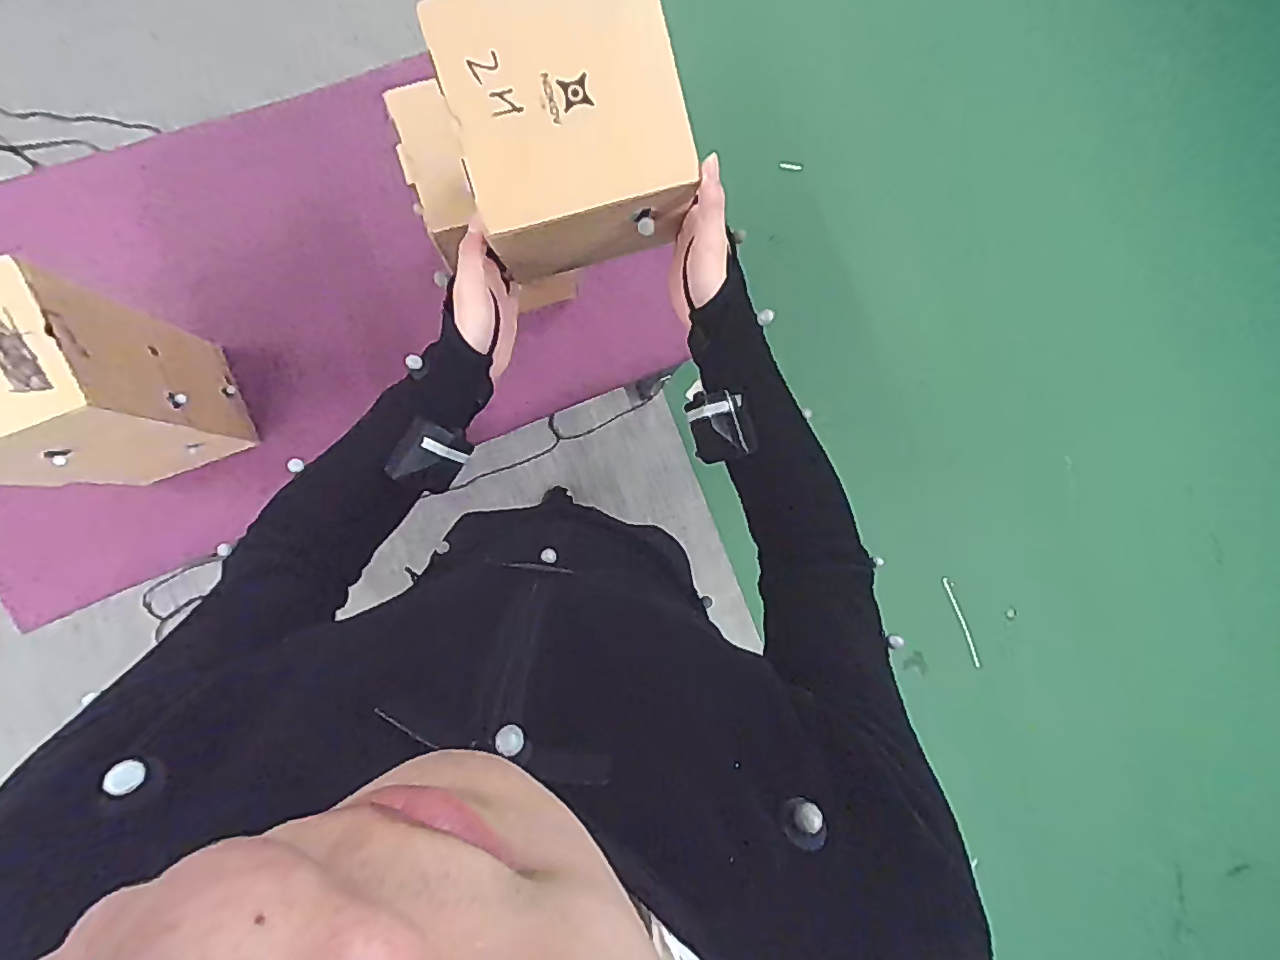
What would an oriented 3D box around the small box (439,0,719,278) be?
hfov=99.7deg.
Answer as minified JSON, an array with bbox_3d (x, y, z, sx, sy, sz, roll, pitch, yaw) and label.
[{"bbox_3d":[-0.048,-0.295,0.477,0.179,0.176,0.168,-16,100,-2],"label":"small box"}]

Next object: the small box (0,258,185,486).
[{"bbox_3d":[-0.650,-0.102,0.585,0.179,0.176,0.168,-26,92,-9],"label":"small box"}]

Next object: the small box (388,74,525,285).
[{"bbox_3d":[-0.176,-0.365,0.670,0.179,0.176,0.168,-19,91,-7],"label":"small box"}]

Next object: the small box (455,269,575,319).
[{"bbox_3d":[-0.204,-0.370,0.833,0.179,0.176,0.168,-19,91,-8],"label":"small box"}]
